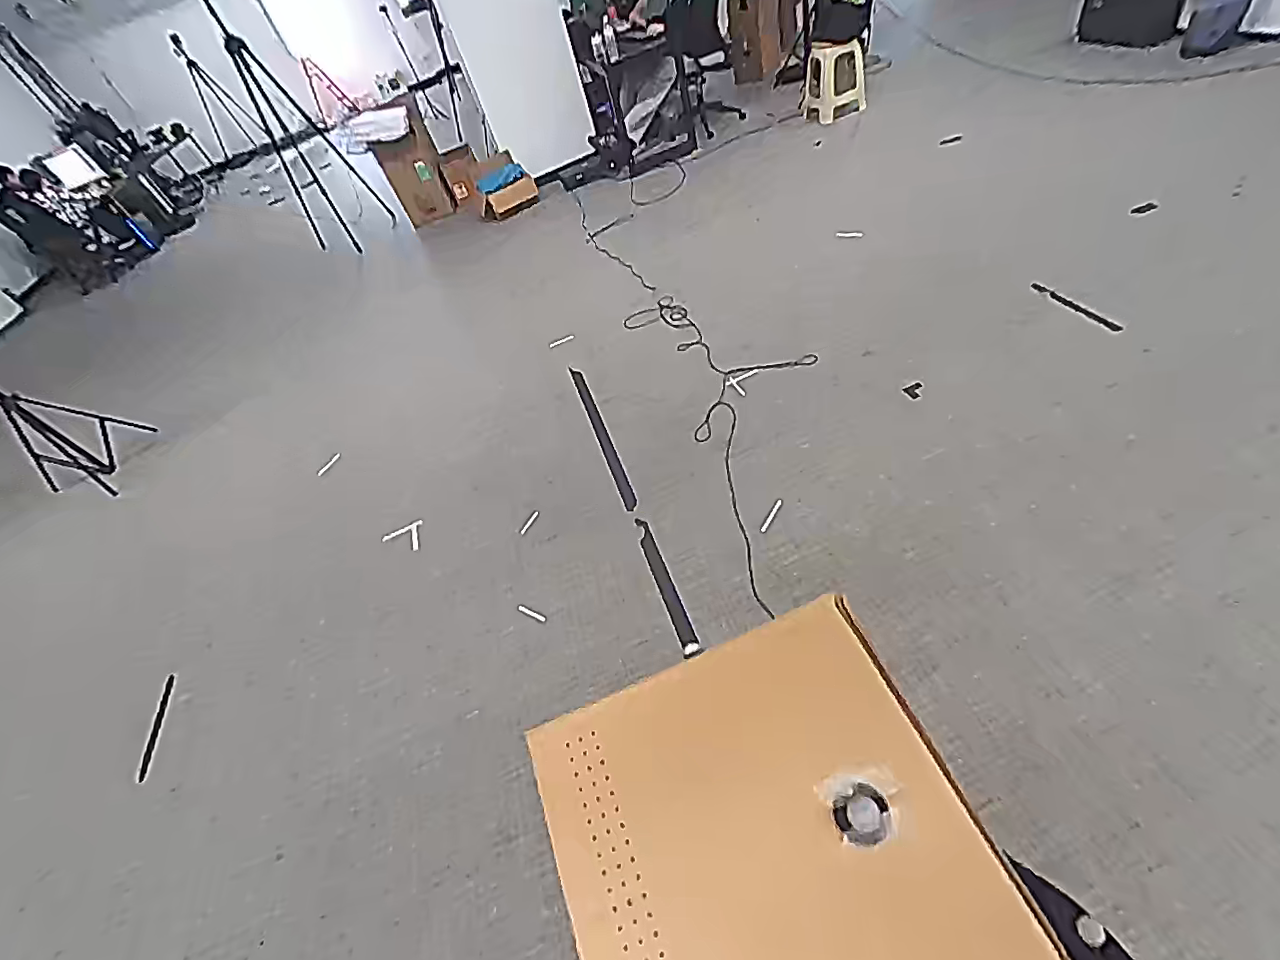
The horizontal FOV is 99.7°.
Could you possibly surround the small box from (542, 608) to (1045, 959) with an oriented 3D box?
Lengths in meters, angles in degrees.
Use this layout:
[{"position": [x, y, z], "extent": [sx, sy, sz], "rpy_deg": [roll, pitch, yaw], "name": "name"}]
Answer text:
[{"position": [0.063, 0.201, 0.292], "extent": [0.176, 0.168, 0.179], "rpy_deg": [-24, 58, 0], "name": "small box"}]
